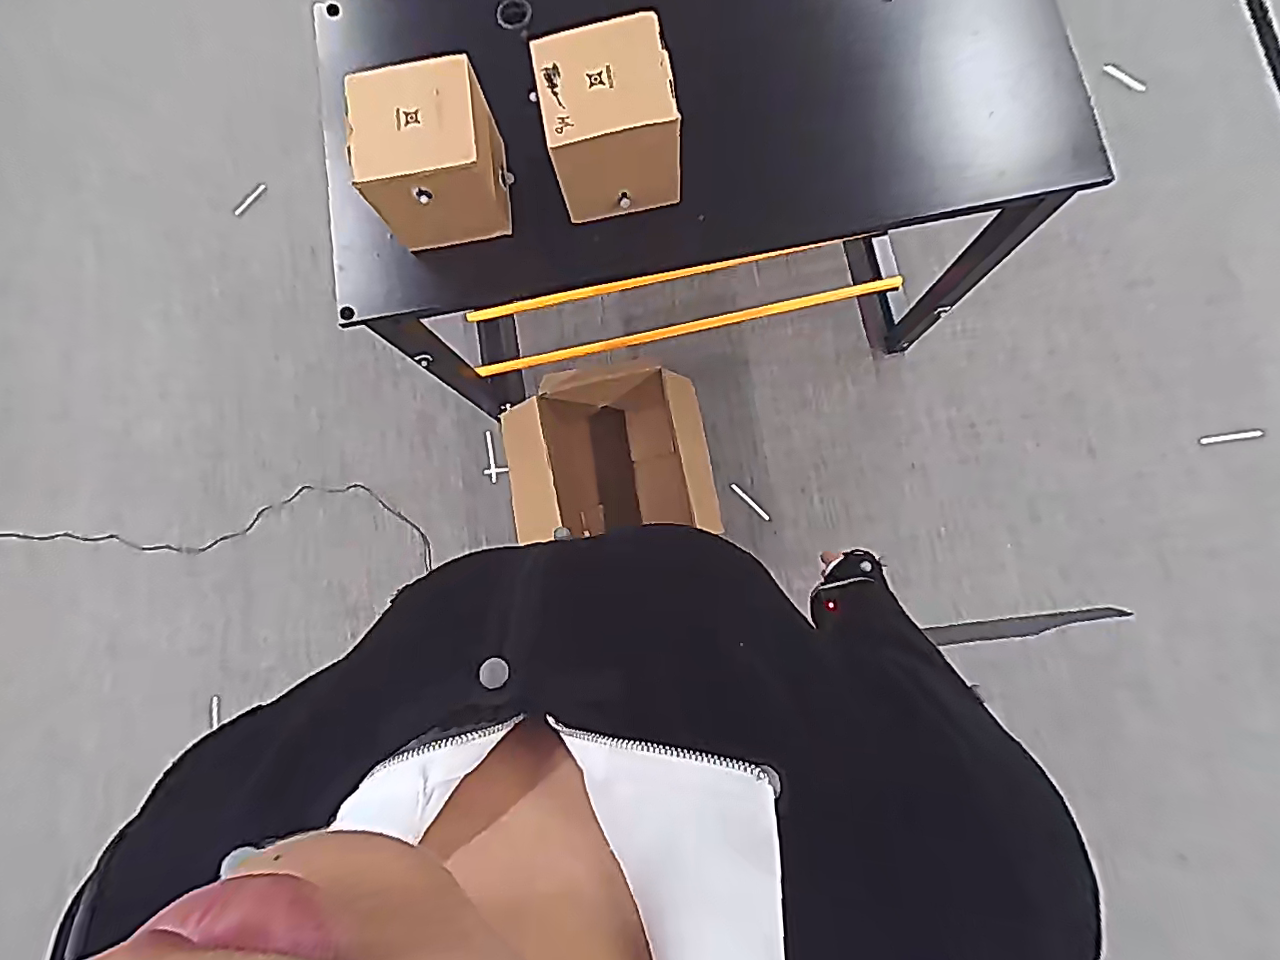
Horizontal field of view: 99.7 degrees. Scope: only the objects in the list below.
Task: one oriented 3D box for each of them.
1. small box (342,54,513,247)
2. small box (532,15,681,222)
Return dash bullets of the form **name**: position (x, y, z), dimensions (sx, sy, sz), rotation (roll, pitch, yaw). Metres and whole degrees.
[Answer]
- **small box**: position (-0.303, -0.468, 0.796), dimensions (0.179, 0.176, 0.168), rotation (-9, 83, 2)
- **small box**: position (-0.043, -0.508, 0.783), dimensions (0.179, 0.176, 0.168), rotation (-11, 81, 2)
